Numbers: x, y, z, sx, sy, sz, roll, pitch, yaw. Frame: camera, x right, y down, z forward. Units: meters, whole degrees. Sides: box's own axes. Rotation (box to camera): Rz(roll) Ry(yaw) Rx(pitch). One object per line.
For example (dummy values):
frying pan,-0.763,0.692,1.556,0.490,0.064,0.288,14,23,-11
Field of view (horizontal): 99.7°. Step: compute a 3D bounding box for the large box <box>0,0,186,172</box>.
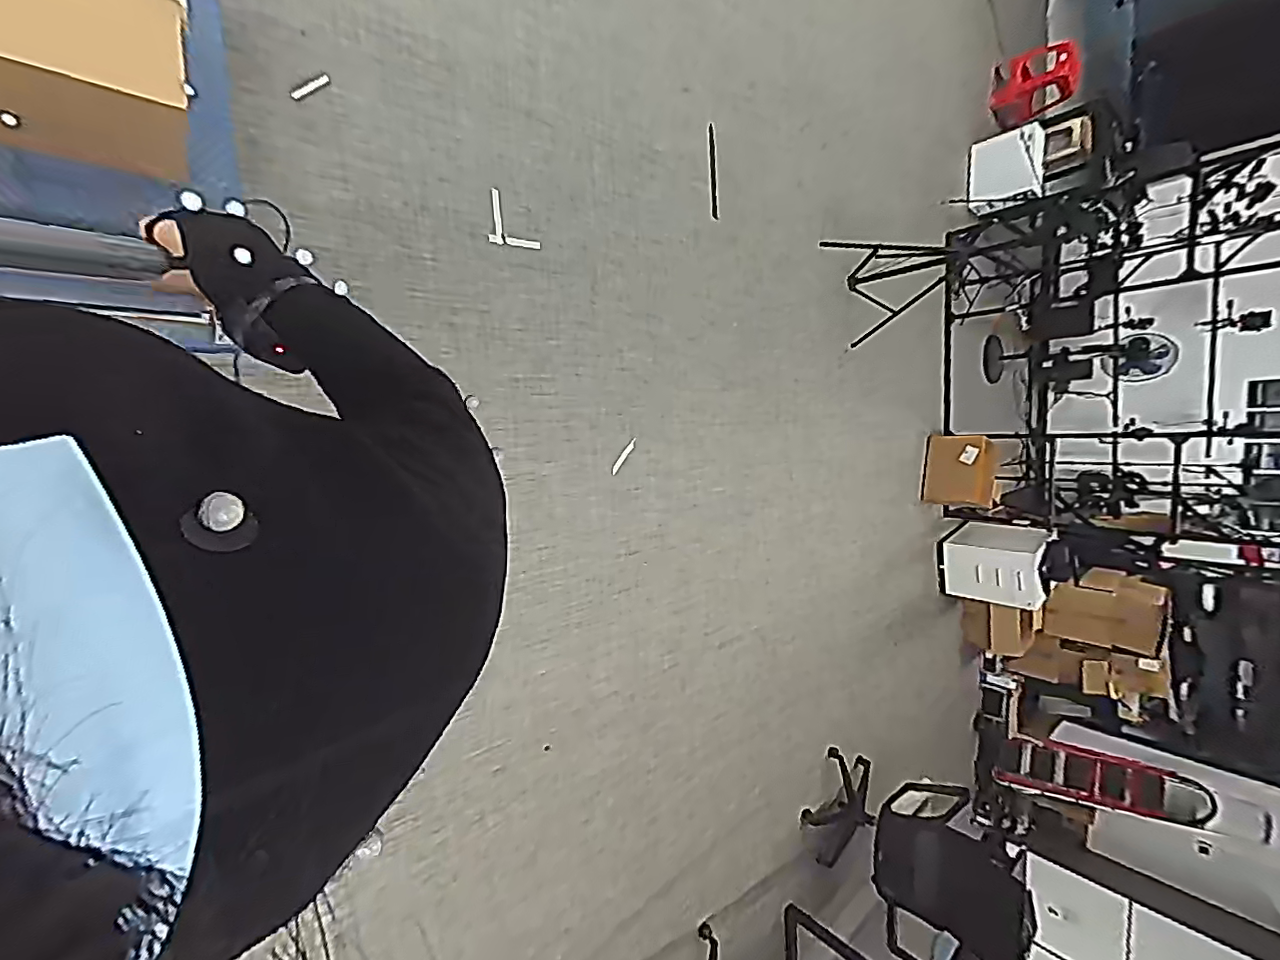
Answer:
large box,-0.927,-0.701,0.771,0.408,0.320,0.320,-6,96,-40
